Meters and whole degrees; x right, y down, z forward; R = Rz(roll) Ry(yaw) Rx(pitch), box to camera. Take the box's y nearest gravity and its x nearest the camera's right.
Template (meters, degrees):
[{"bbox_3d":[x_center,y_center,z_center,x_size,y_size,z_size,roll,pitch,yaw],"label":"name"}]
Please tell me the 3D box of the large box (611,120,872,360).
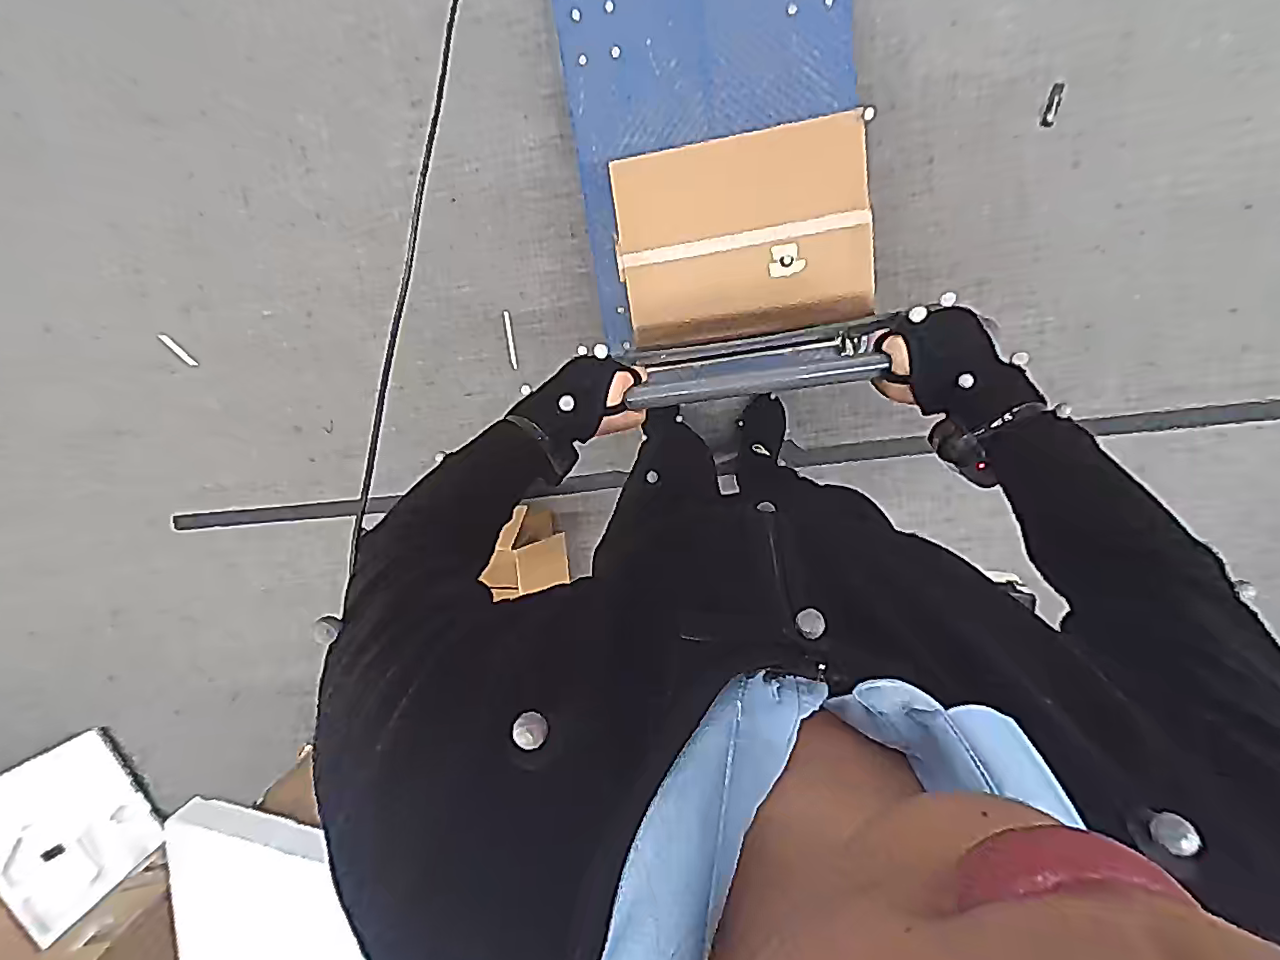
[{"bbox_3d":[0.183,-0.416,1.037,0.408,0.320,0.320,-7,103,8],"label":"large box"}]
